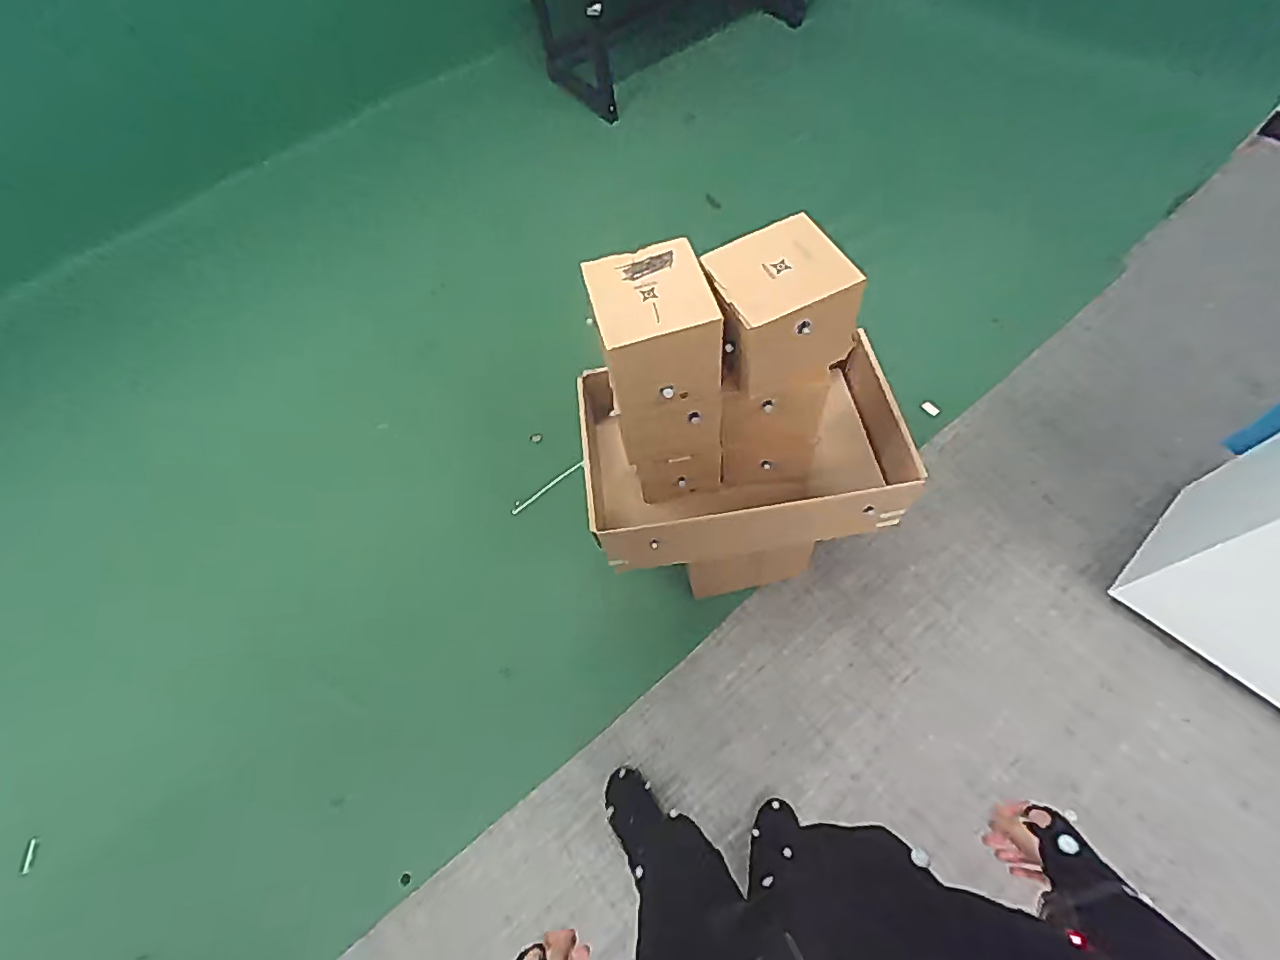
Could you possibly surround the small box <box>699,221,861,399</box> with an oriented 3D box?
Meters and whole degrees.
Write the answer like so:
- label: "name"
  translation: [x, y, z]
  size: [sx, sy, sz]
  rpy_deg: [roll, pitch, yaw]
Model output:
- label: "small box"
  translation: [0.208, -0.254, 0.835]
  size: [0.179, 0.176, 0.168]
  rpy_deg: [-23, 60, -2]
